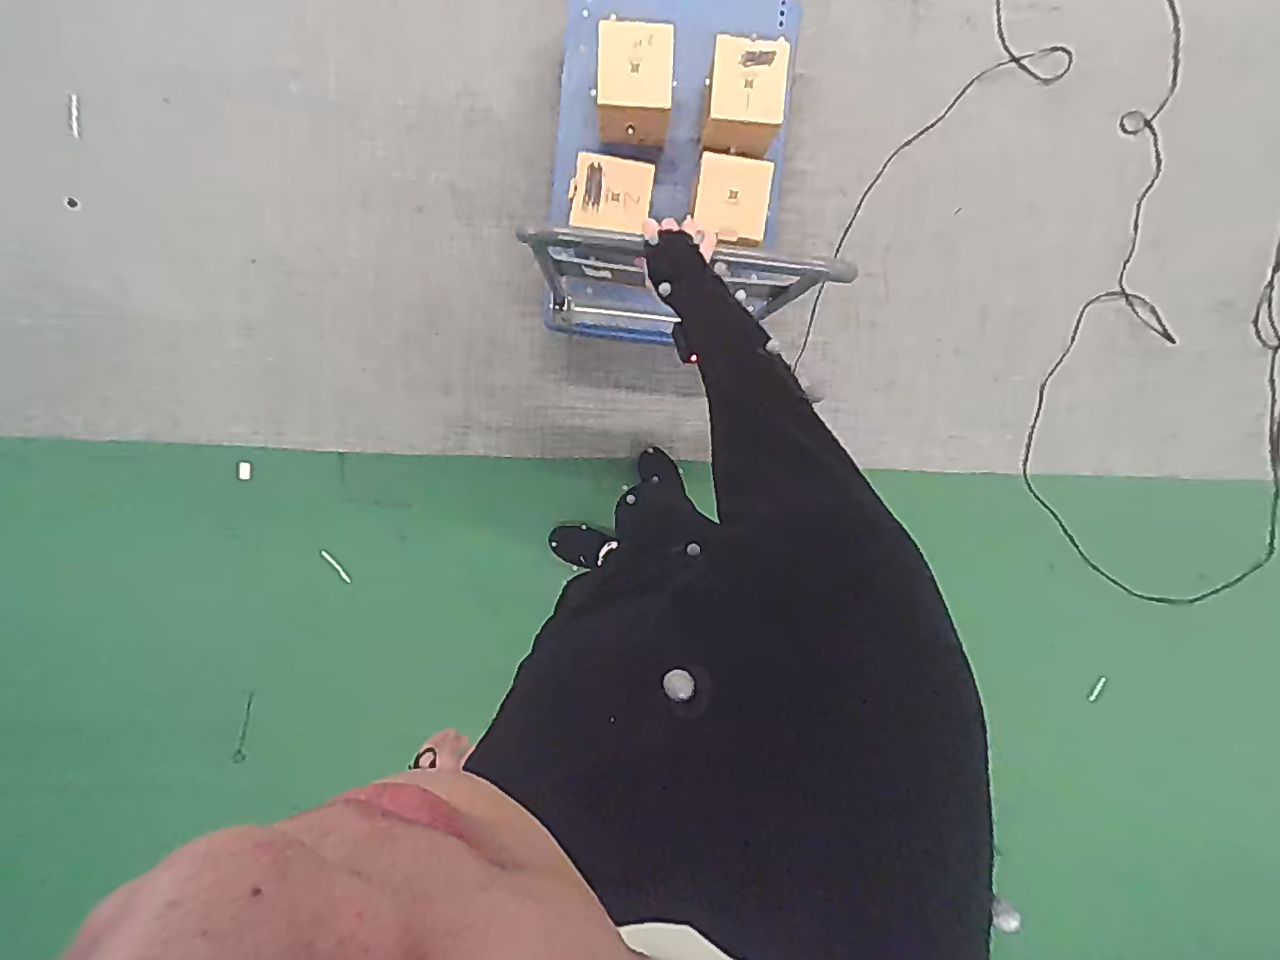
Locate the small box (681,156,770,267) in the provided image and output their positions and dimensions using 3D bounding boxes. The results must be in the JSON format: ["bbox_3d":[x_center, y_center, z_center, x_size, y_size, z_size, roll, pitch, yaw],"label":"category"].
[{"bbox_3d":[0.198,-0.635,1.298,0.168,0.176,0.179,7,96,-3],"label":"small box"}]

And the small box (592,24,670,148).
[{"bbox_3d":[-0.023,-0.905,1.259,0.168,0.176,0.179,2,95,-4],"label":"small box"}]

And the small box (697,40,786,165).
[{"bbox_3d":[0.231,-0.881,1.274,0.168,0.176,0.179,4,96,-2],"label":"small box"}]
